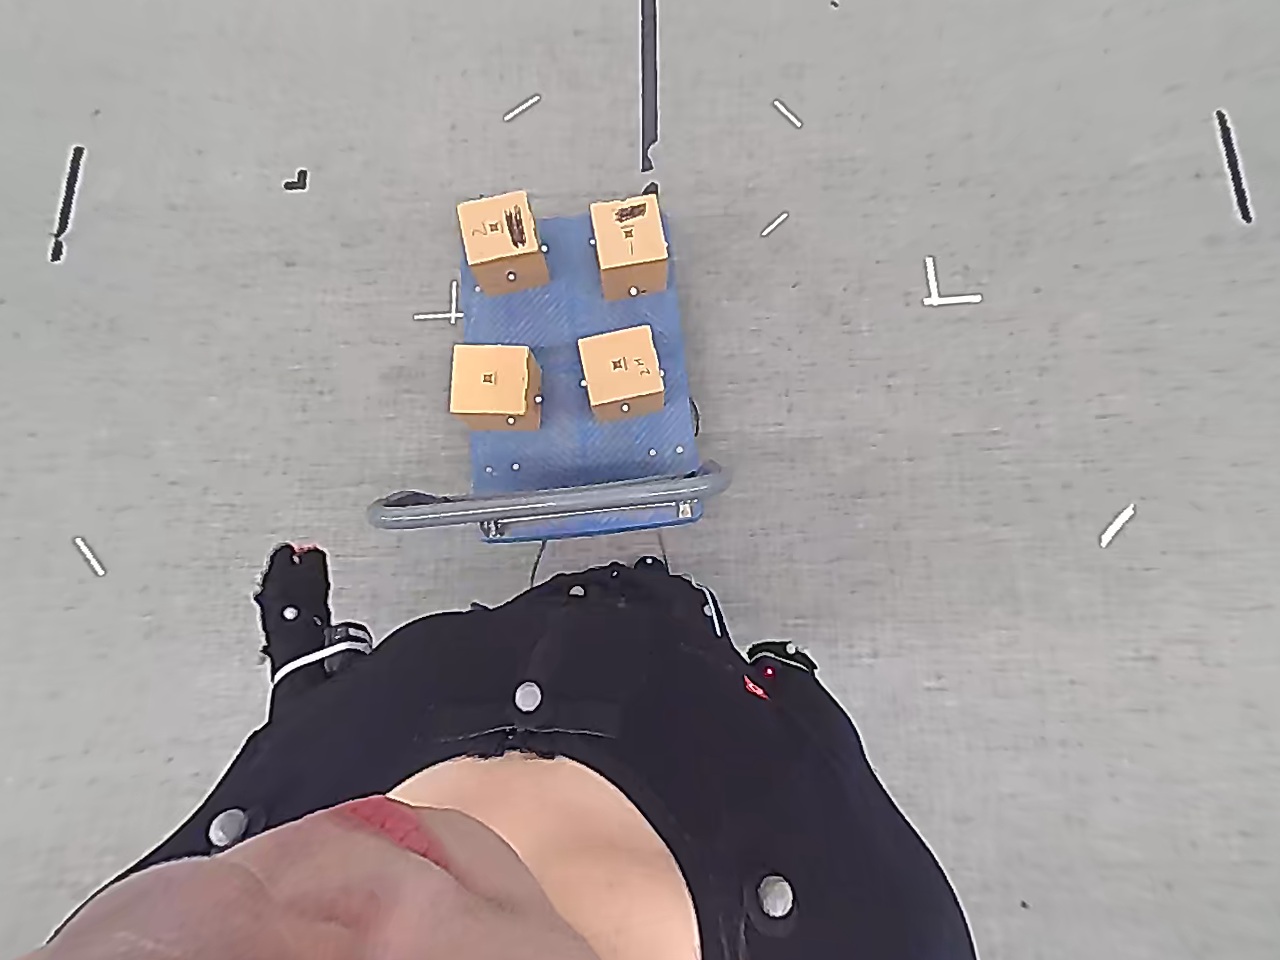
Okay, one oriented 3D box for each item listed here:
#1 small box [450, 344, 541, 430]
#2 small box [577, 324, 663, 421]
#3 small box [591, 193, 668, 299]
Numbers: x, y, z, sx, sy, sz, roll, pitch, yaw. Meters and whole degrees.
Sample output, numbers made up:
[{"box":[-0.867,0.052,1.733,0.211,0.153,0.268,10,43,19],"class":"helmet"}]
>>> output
[{"box":[-0.347,-0.222,1.322,0.179,0.176,0.168,0,81,-1],"class":"small box"},{"box":[-0.044,-0.254,1.323,0.179,0.176,0.168,-12,81,-1],"class":"small box"},{"box":[-0.027,-0.588,1.374,0.168,0.176,0.179,-10,82,-1],"class":"small box"}]
